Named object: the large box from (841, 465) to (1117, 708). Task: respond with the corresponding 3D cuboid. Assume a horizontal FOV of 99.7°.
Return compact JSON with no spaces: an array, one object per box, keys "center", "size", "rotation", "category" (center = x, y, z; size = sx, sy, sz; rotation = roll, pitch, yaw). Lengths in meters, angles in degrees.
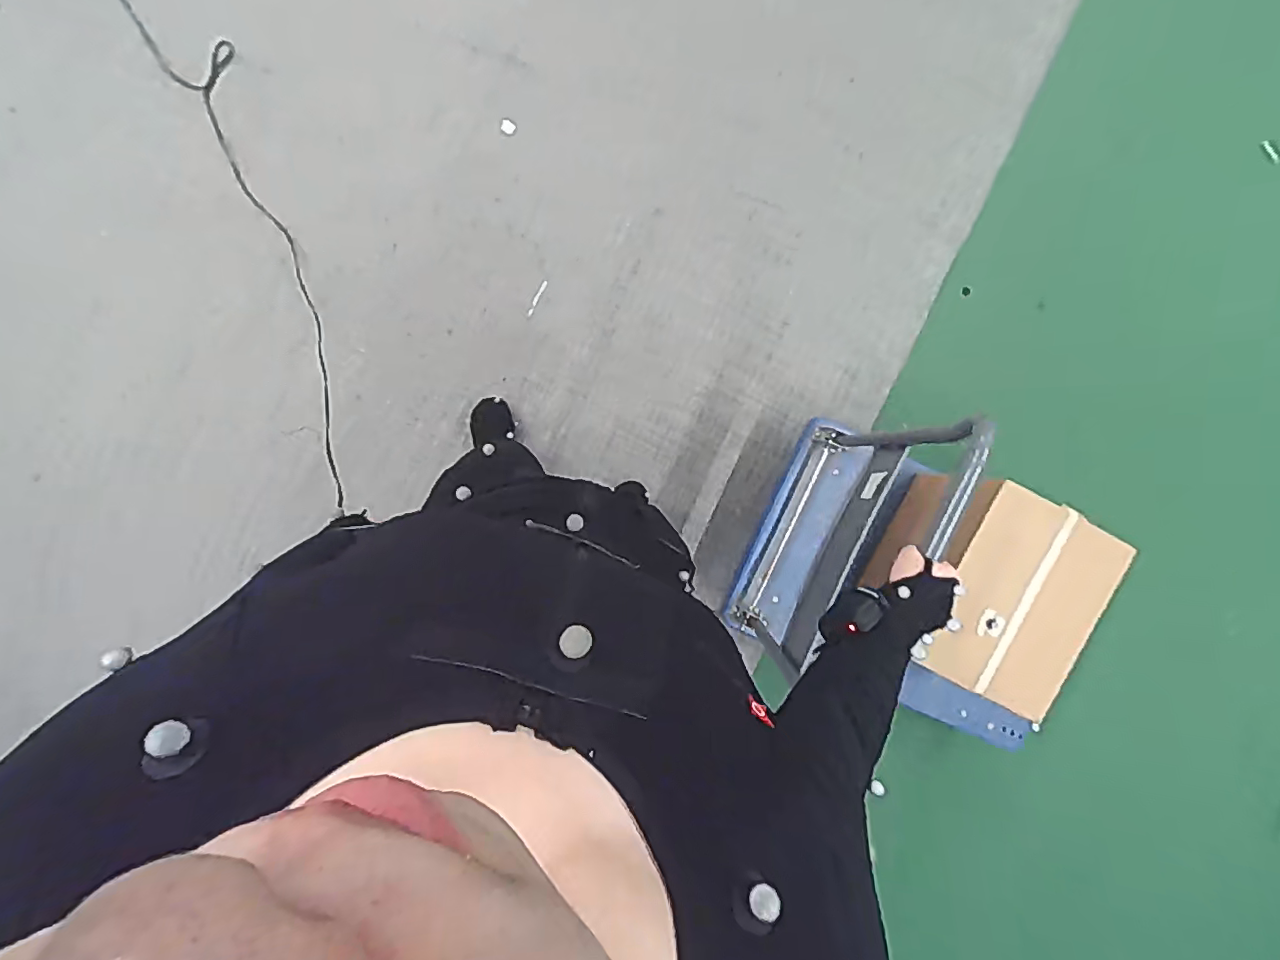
[{"center":[0.738,0.214,1.236],"size":[0.320,0.320,0.408],"rotation":[27,92,-4],"category":"large box"}]
